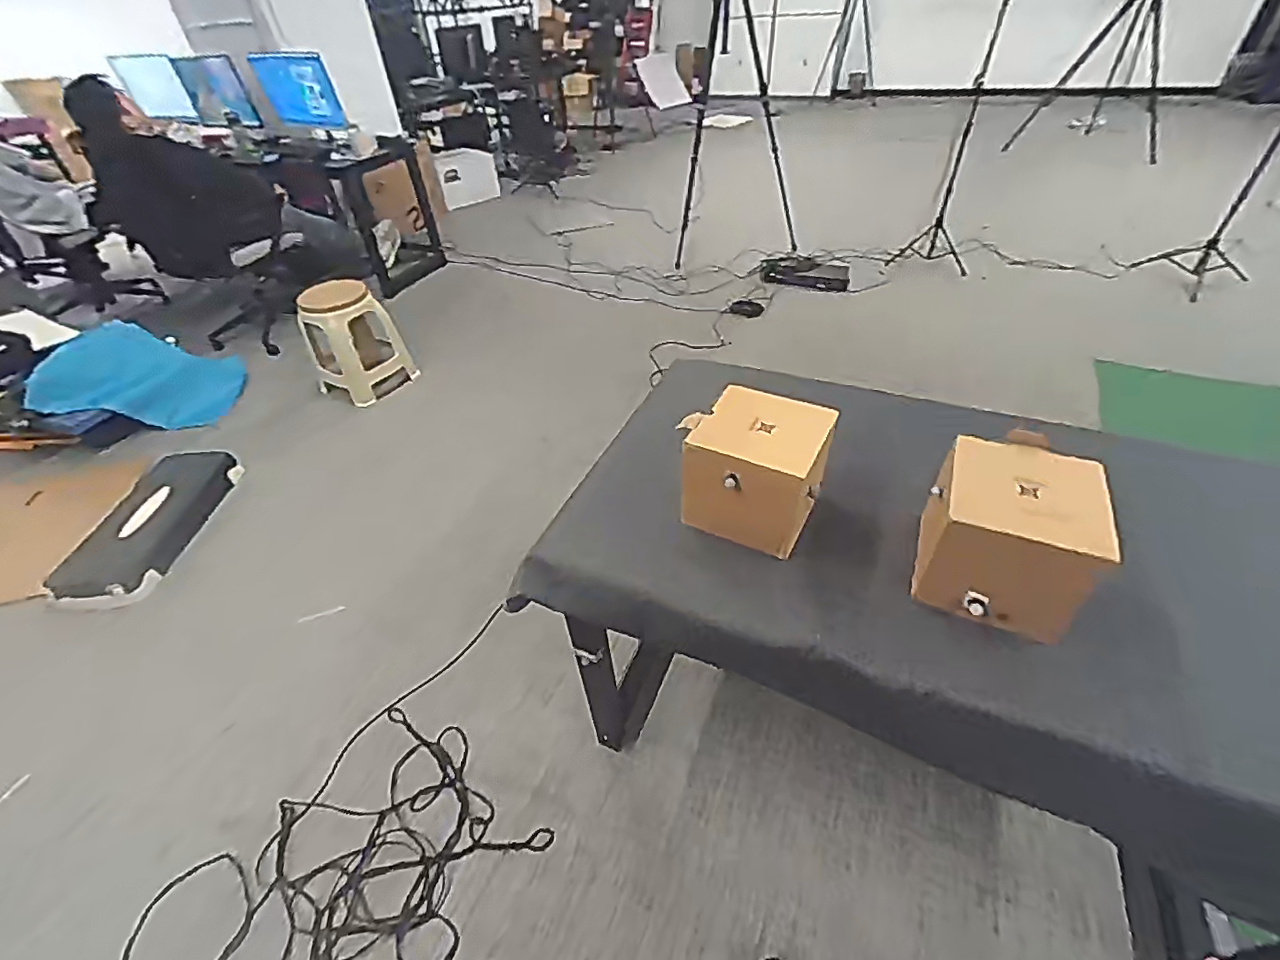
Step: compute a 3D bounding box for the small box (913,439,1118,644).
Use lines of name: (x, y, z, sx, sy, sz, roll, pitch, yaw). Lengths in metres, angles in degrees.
small box: (0.472, 0.077, 0.707, 0.168, 0.176, 0.179, 15, 46, 21)

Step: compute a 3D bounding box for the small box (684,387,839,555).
small box: (0.179, -0.012, 0.824, 0.179, 0.176, 0.168, 19, 47, 24)
